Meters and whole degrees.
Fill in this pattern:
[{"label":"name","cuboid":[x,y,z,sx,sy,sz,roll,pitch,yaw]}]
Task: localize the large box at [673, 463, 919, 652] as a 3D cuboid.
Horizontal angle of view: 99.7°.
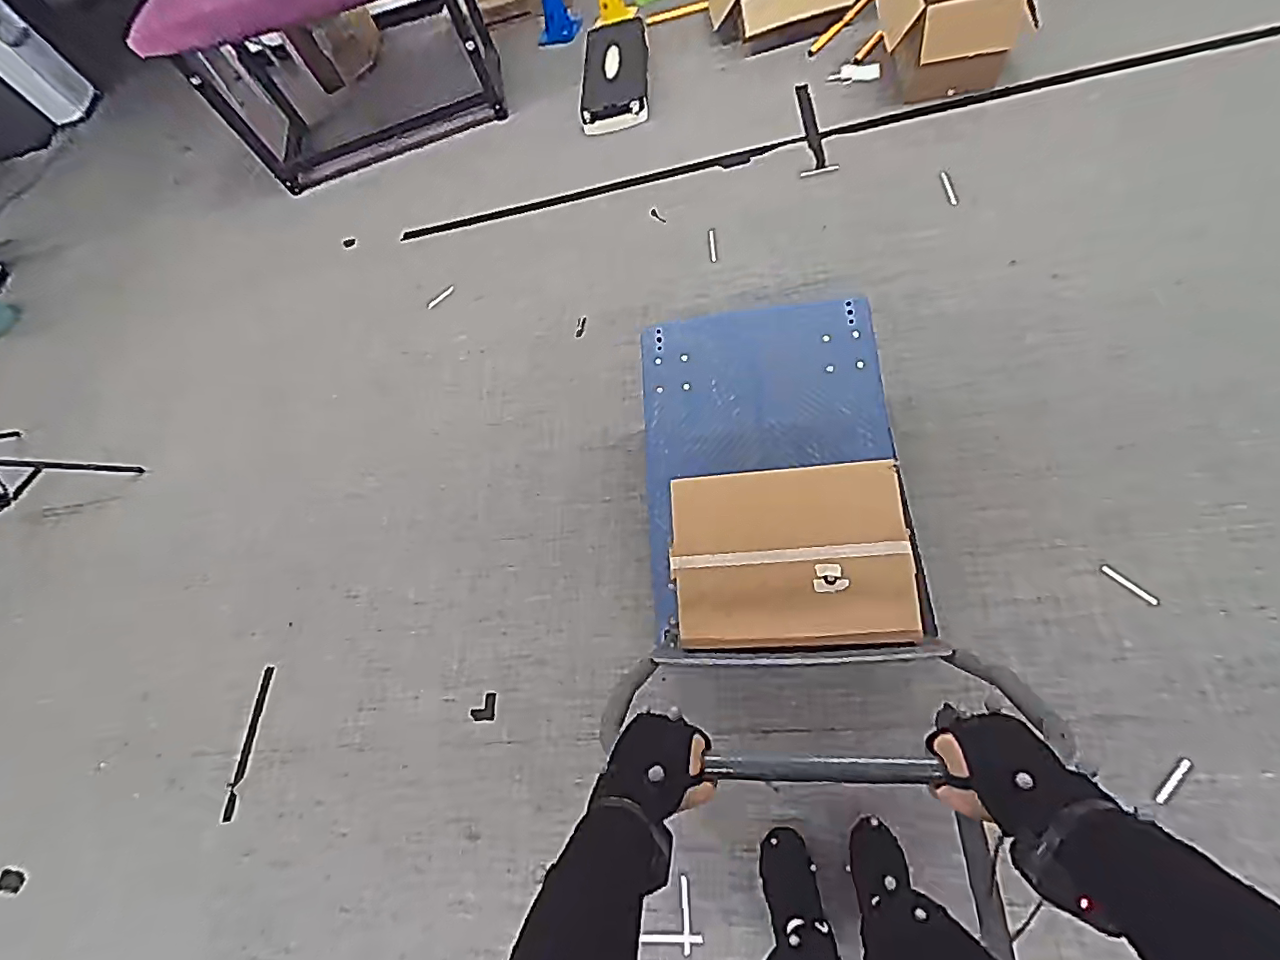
[{"label":"large box","cuboid":[0.294,0.172,1.116,0.408,0.320,0.320,-6,77,10]}]
